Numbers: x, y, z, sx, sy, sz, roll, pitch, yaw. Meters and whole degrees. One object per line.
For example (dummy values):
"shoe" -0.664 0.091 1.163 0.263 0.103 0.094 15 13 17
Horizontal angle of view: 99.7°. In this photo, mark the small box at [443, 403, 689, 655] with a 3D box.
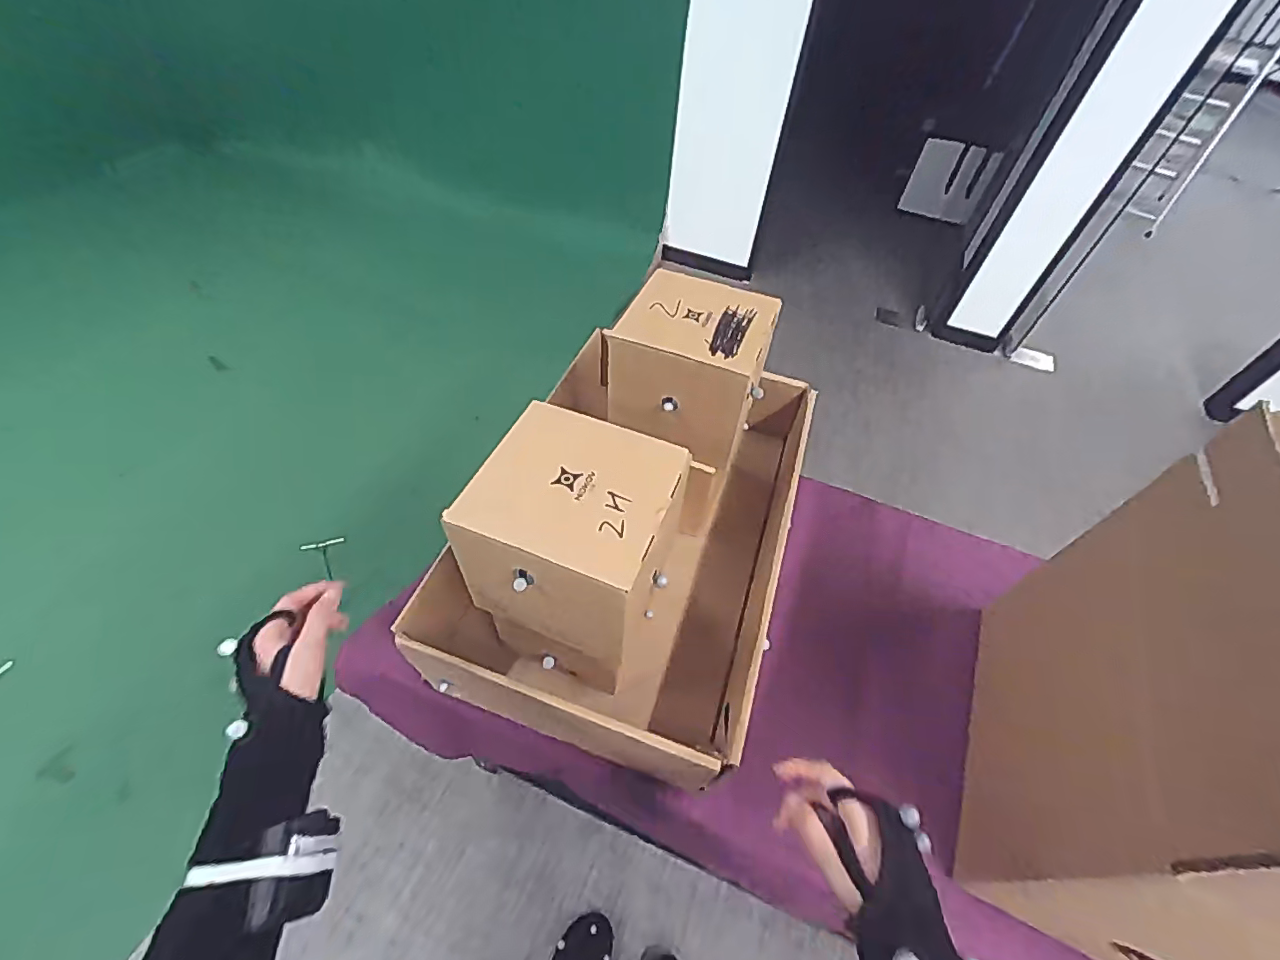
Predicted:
"small box" -0.066 0.055 0.556 0.179 0.176 0.168 20 54 11

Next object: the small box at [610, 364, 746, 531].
"small box" 0.053 -0.048 0.858 0.168 0.176 0.179 20 53 12
